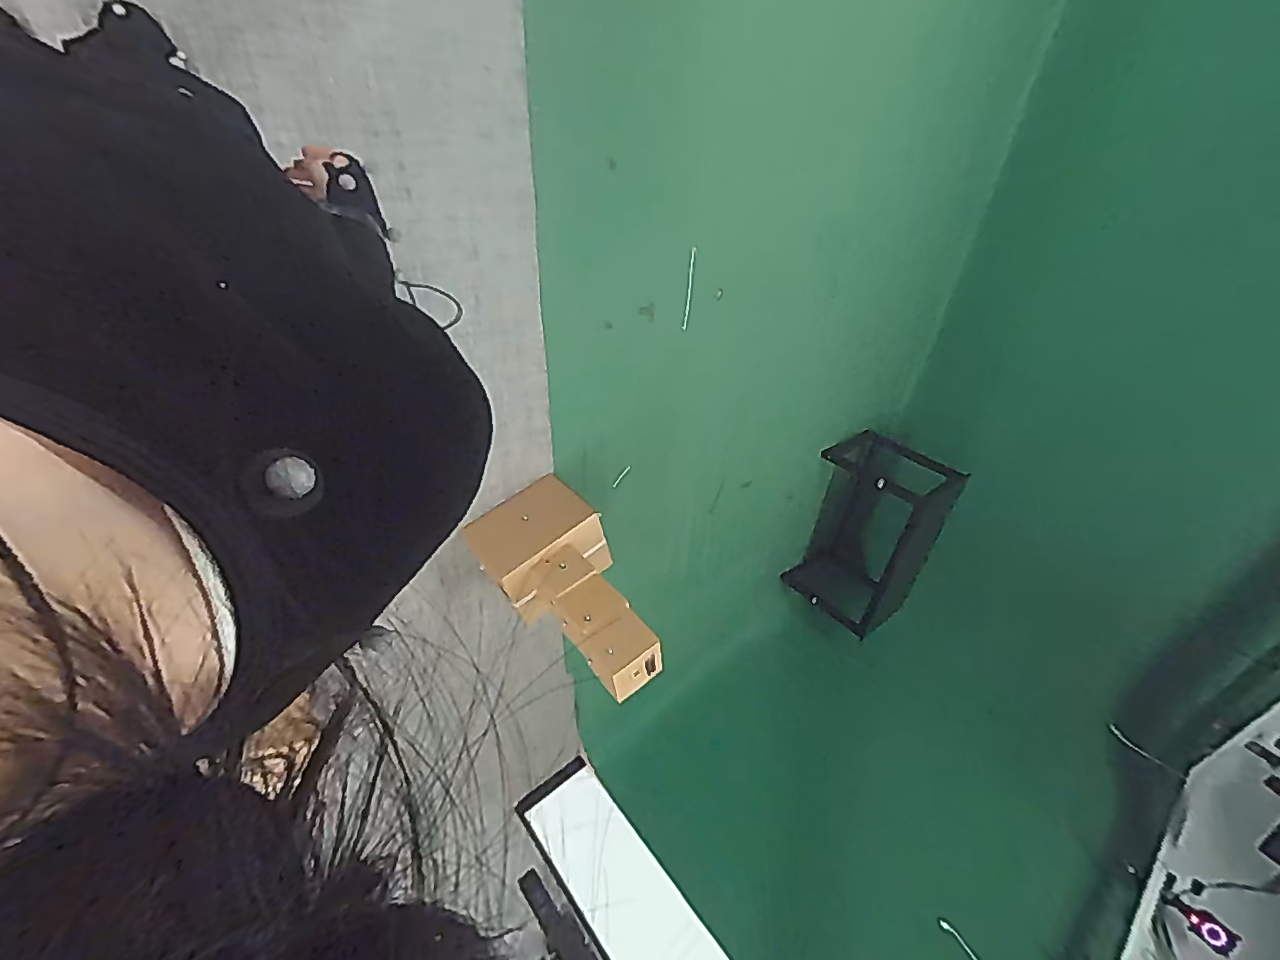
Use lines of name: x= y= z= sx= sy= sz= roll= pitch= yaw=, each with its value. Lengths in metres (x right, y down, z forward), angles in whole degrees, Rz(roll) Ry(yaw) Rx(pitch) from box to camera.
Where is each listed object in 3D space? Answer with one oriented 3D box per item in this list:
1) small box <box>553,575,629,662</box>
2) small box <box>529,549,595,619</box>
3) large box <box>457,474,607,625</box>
small box: x=-0.158 y=0.442 z=1.752 sx=0.179 sy=0.176 sz=0.168 roll=-30 pitch=137 yaw=-27
small box: x=-0.260 y=0.359 z=1.847 sx=0.168 sy=0.176 sz=0.179 roll=-31 pitch=137 yaw=-26
large box: x=-0.395 y=0.251 z=2.026 sx=0.408 sy=0.320 sz=0.320 roll=-37 pitch=141 yaw=-23
